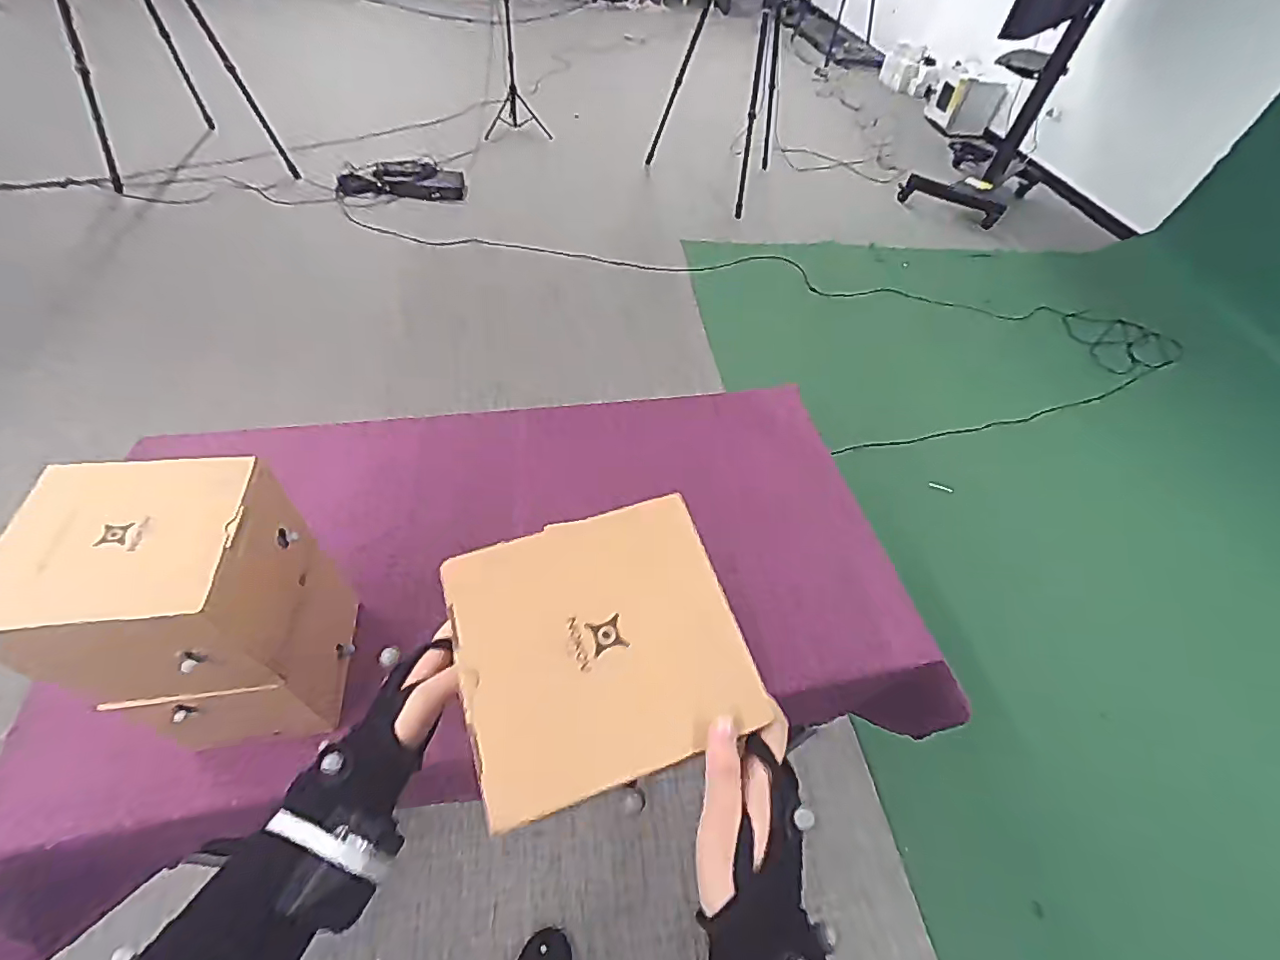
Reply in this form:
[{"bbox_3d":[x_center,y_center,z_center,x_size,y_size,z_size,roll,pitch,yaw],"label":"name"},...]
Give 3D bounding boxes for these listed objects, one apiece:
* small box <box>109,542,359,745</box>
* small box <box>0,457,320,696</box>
[{"bbox_3d":[-0.458,0.196,0.651,0.168,0.176,0.179,-4,52,-10],"label":"small box"},{"bbox_3d":[-0.442,0.095,0.523,0.179,0.176,0.168,-3,52,-9],"label":"small box"}]
